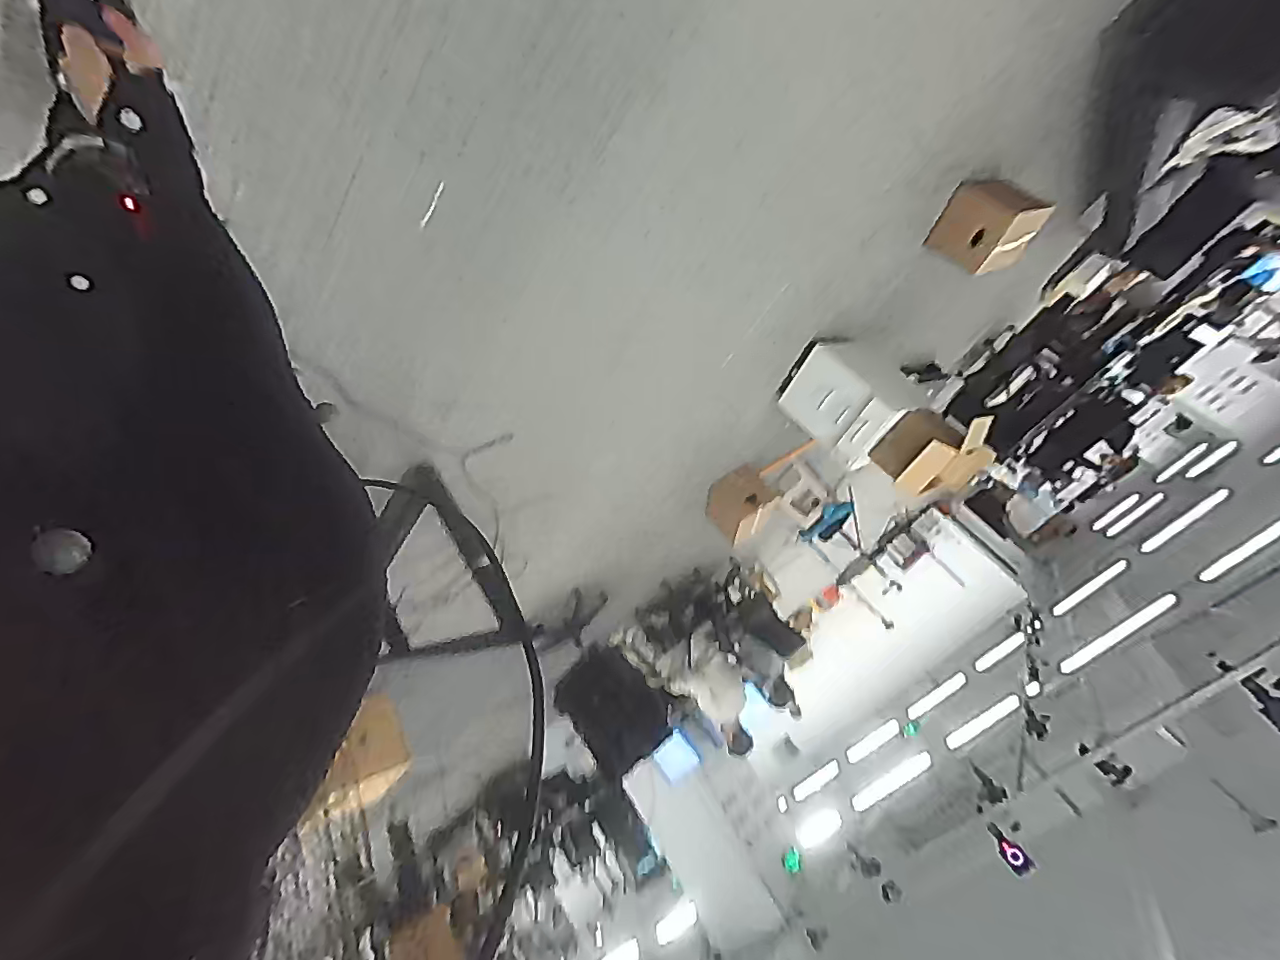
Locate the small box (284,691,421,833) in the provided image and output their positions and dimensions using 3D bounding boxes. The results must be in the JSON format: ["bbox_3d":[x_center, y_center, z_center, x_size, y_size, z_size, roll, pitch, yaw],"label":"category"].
[{"bbox_3d":[-0.596,0.569,1.113,0.168,0.176,0.179,-49,154,22],"label":"small box"}]
